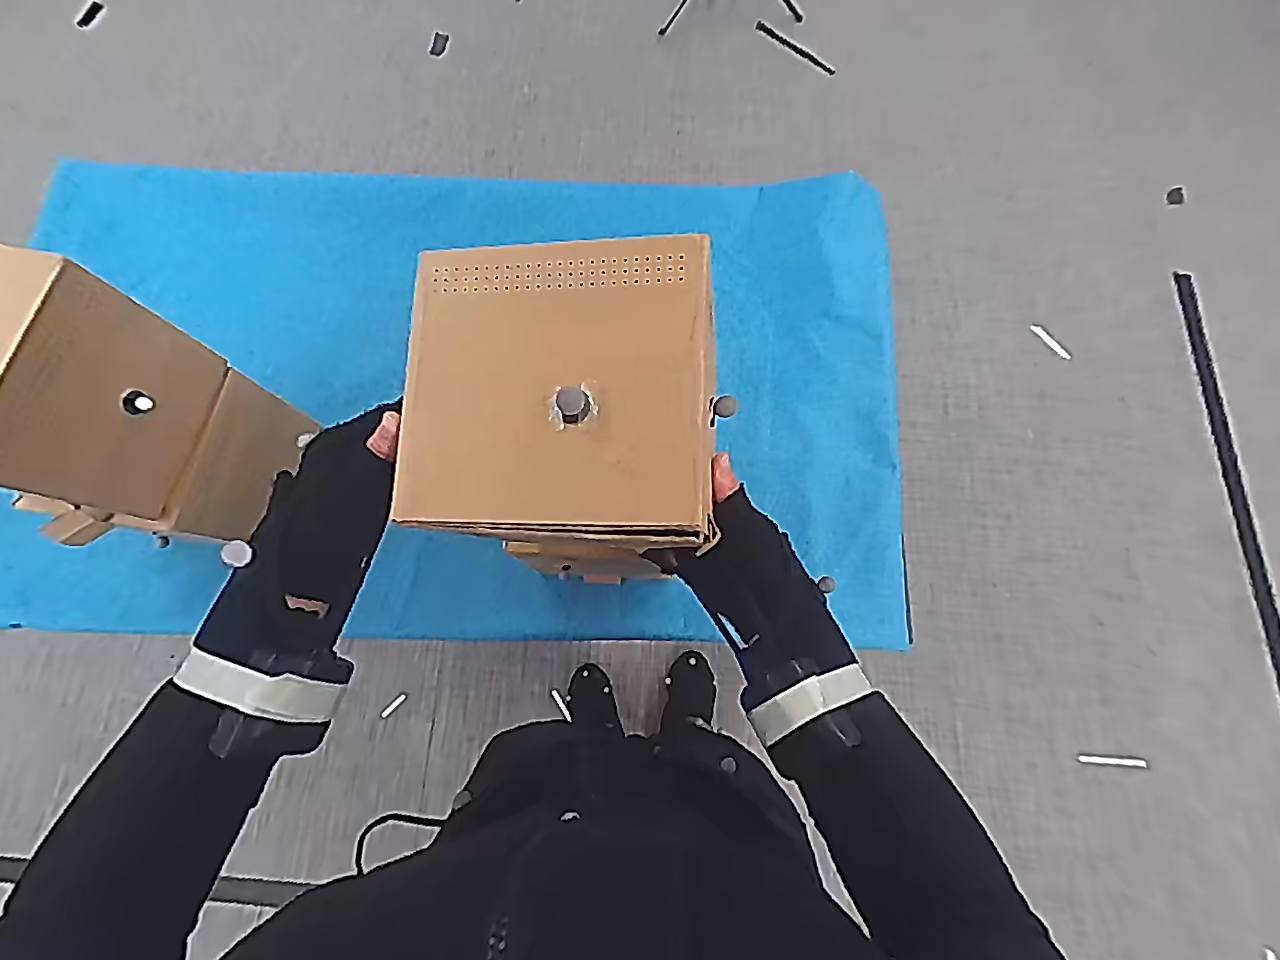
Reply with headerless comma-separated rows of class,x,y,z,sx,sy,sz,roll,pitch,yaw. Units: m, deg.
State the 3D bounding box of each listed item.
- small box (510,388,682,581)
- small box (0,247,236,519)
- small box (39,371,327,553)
small box,-0.041,0.013,0.610,0.168,0.176,0.179,2,73,1
small box,-0.518,-0.078,0.470,0.168,0.176,0.179,11,76,4
small box,-0.510,-0.022,0.625,0.168,0.176,0.179,7,75,2
